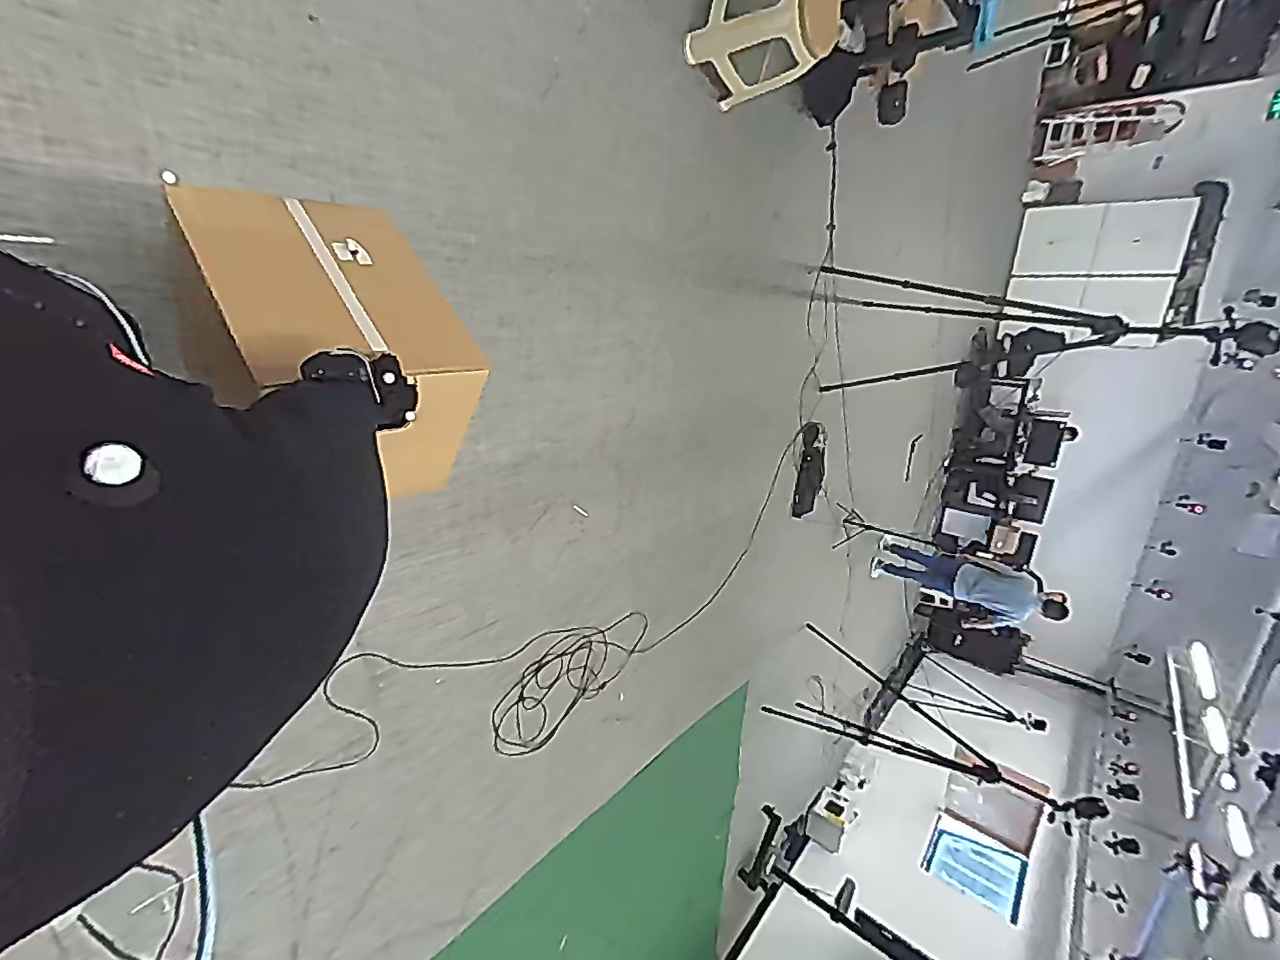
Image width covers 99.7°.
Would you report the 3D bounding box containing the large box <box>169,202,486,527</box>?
[{"bbox_3d":[-0.525,-0.194,0.915,0.320,0.408,0.320,-18,153,-44],"label":"large box"}]
